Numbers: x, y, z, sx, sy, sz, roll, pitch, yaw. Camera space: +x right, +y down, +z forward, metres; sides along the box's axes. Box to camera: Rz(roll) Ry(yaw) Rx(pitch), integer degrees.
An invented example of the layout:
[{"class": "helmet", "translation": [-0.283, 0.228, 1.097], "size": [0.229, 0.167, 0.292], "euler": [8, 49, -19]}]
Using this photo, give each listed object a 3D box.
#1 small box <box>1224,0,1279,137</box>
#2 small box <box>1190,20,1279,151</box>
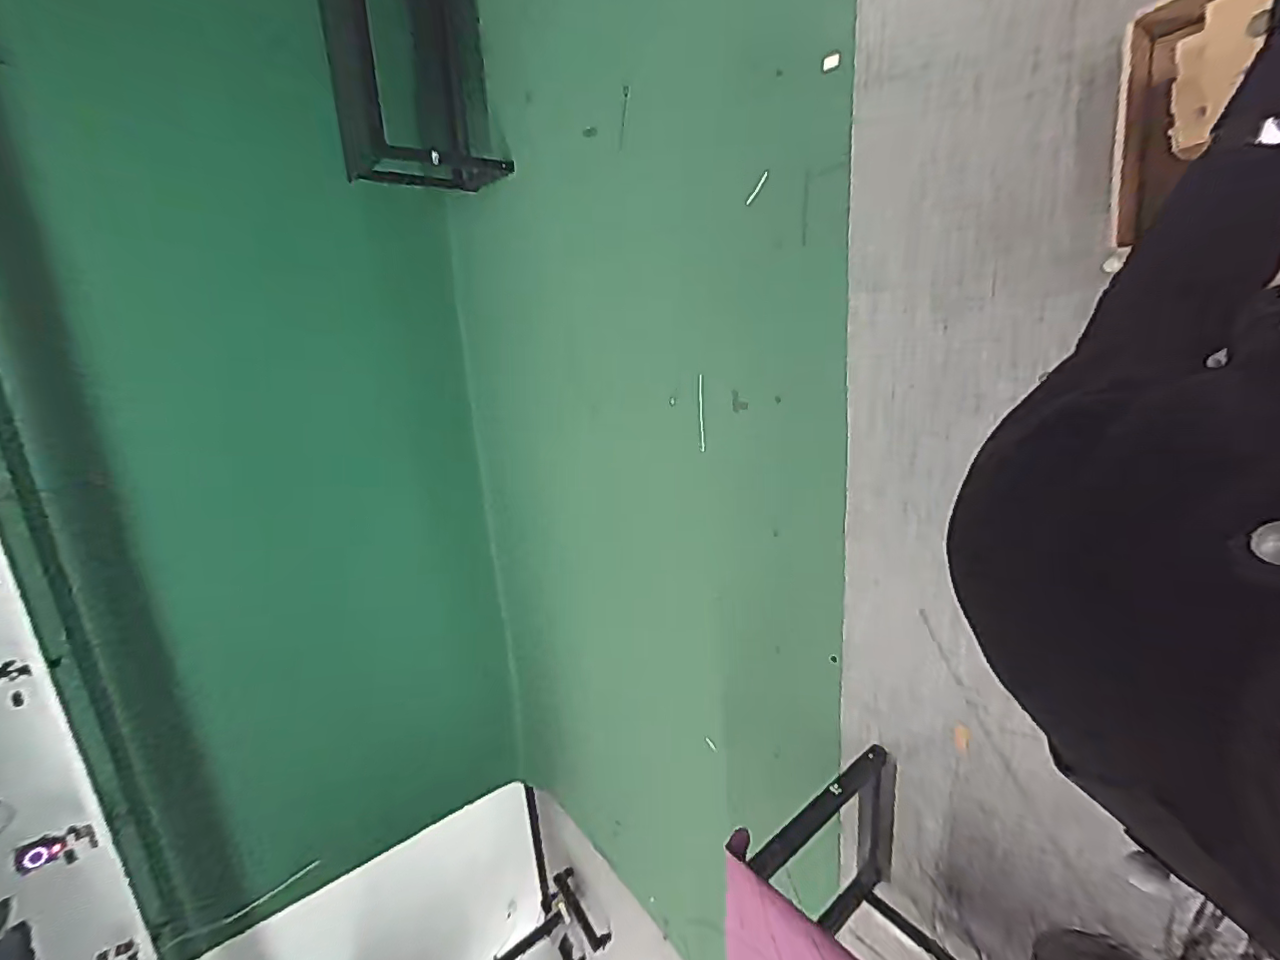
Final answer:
[{"class": "small box", "translation": [0.918, -0.591, 0.728], "size": [0.168, 0.176, 0.179], "euler": [2, 105, 51]}, {"class": "small box", "translation": [1.014, -0.649, 0.857], "size": [0.179, 0.176, 0.168], "euler": [5, 108, 52]}]
